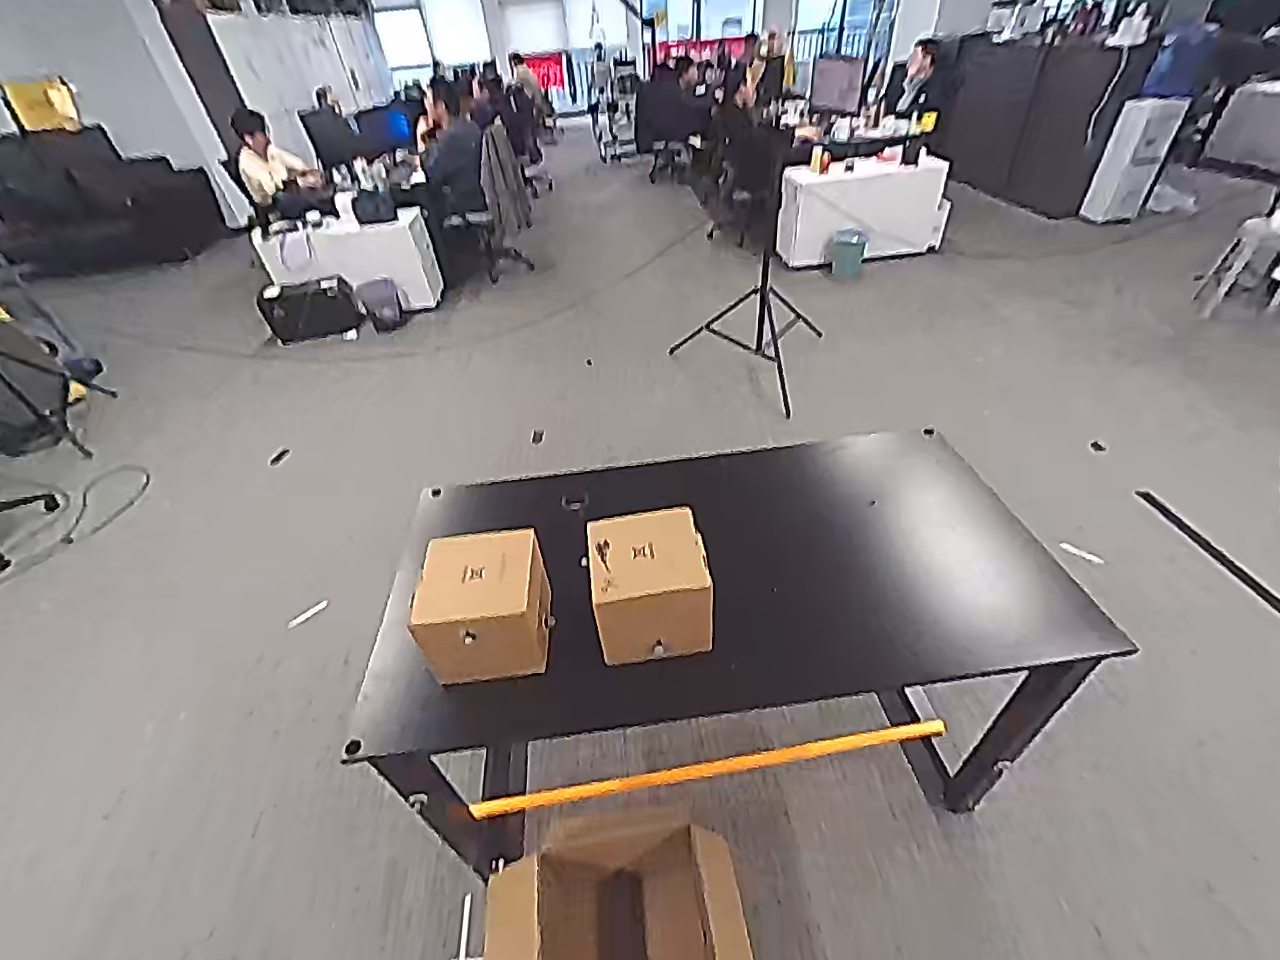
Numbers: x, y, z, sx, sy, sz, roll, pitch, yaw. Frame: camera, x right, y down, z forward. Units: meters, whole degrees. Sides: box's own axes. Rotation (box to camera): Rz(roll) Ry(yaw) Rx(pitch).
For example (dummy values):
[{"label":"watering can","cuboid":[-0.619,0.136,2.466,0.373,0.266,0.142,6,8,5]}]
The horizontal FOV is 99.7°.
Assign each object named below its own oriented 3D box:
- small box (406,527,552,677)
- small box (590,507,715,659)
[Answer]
[{"label":"small box","cuboid":[-0.245,0.199,0.873,0.179,0.176,0.168,-6,42,-2]},{"label":"small box","cuboid":[0.016,0.168,0.878,0.179,0.176,0.168,-8,40,-3]}]
